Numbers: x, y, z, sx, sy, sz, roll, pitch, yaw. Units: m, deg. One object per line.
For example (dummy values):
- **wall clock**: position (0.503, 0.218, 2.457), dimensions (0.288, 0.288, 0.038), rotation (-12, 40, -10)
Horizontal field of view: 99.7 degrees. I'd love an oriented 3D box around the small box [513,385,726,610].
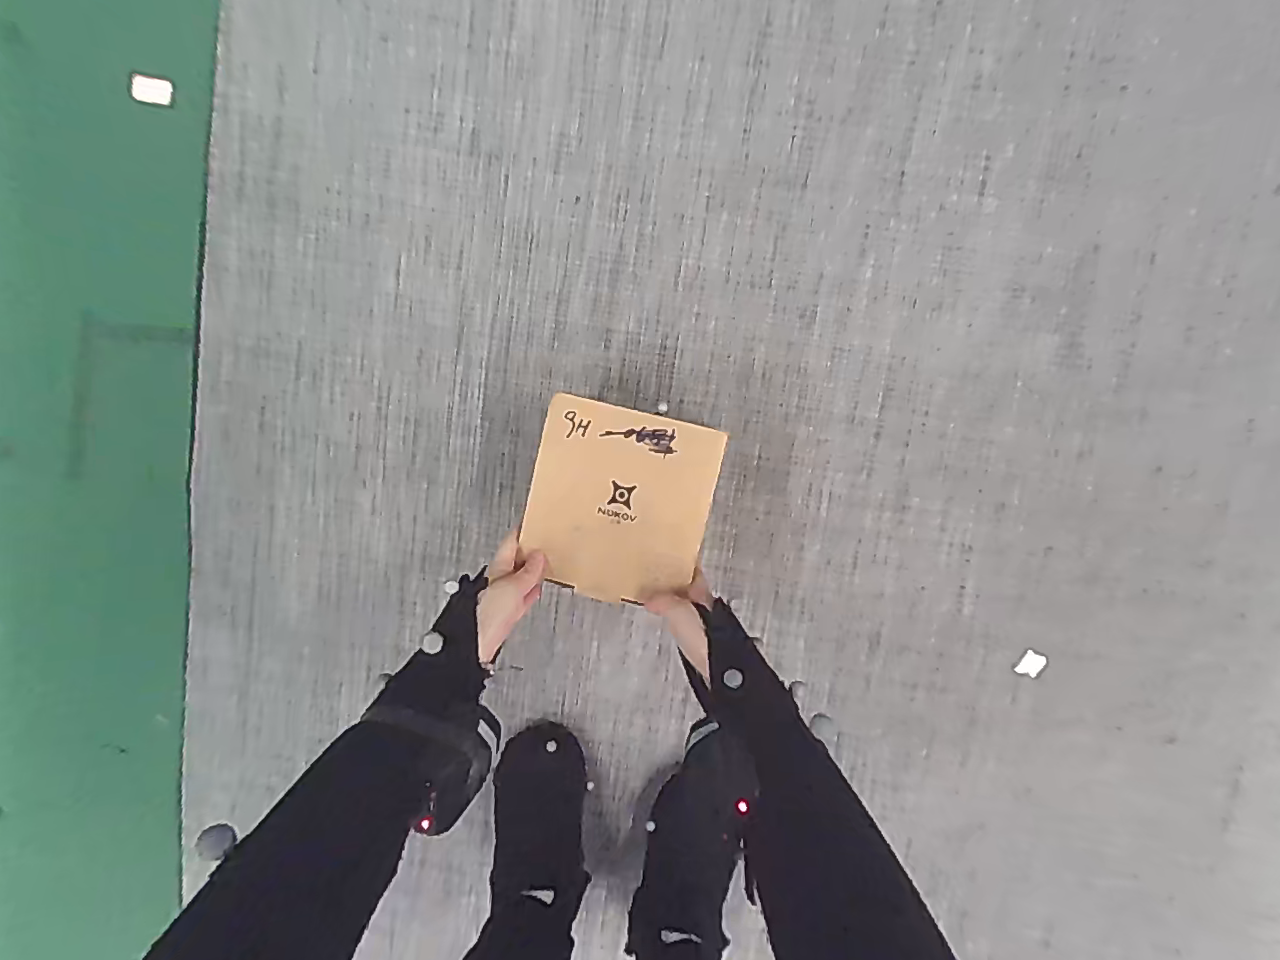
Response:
- **small box**: position (-0.016, 0.010, 0.569), dimensions (0.168, 0.176, 0.179), rotation (14, 96, 2)
